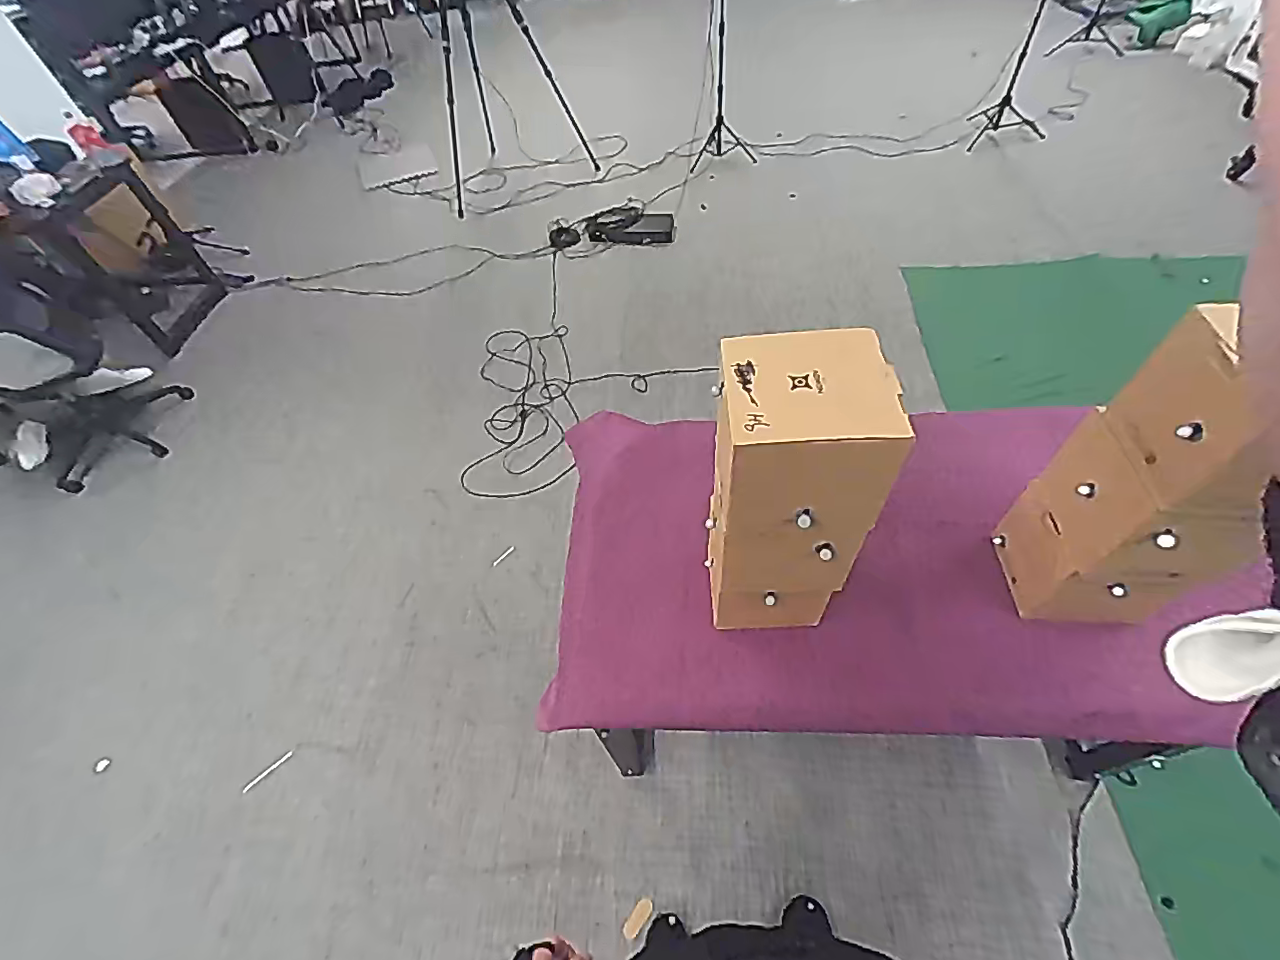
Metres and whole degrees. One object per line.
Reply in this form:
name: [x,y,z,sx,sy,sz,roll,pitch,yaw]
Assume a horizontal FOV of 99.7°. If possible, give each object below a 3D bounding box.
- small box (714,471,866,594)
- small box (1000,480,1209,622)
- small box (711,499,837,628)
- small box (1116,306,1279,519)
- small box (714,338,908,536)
small box: [0.197,0.051,0.766,0.179,0.176,0.168,-2,52,6]
small box: [0.707,0.115,0.857,0.179,0.176,0.168,0,53,7]
small box: [0.212,0.140,0.906,0.179,0.176,0.168,-4,52,5]
small box: [0.674,-0.070,0.588,0.179,0.176,0.168,2,53,9]
small box: [0.181,-0.045,0.635,0.179,0.176,0.168,-2,52,5]
